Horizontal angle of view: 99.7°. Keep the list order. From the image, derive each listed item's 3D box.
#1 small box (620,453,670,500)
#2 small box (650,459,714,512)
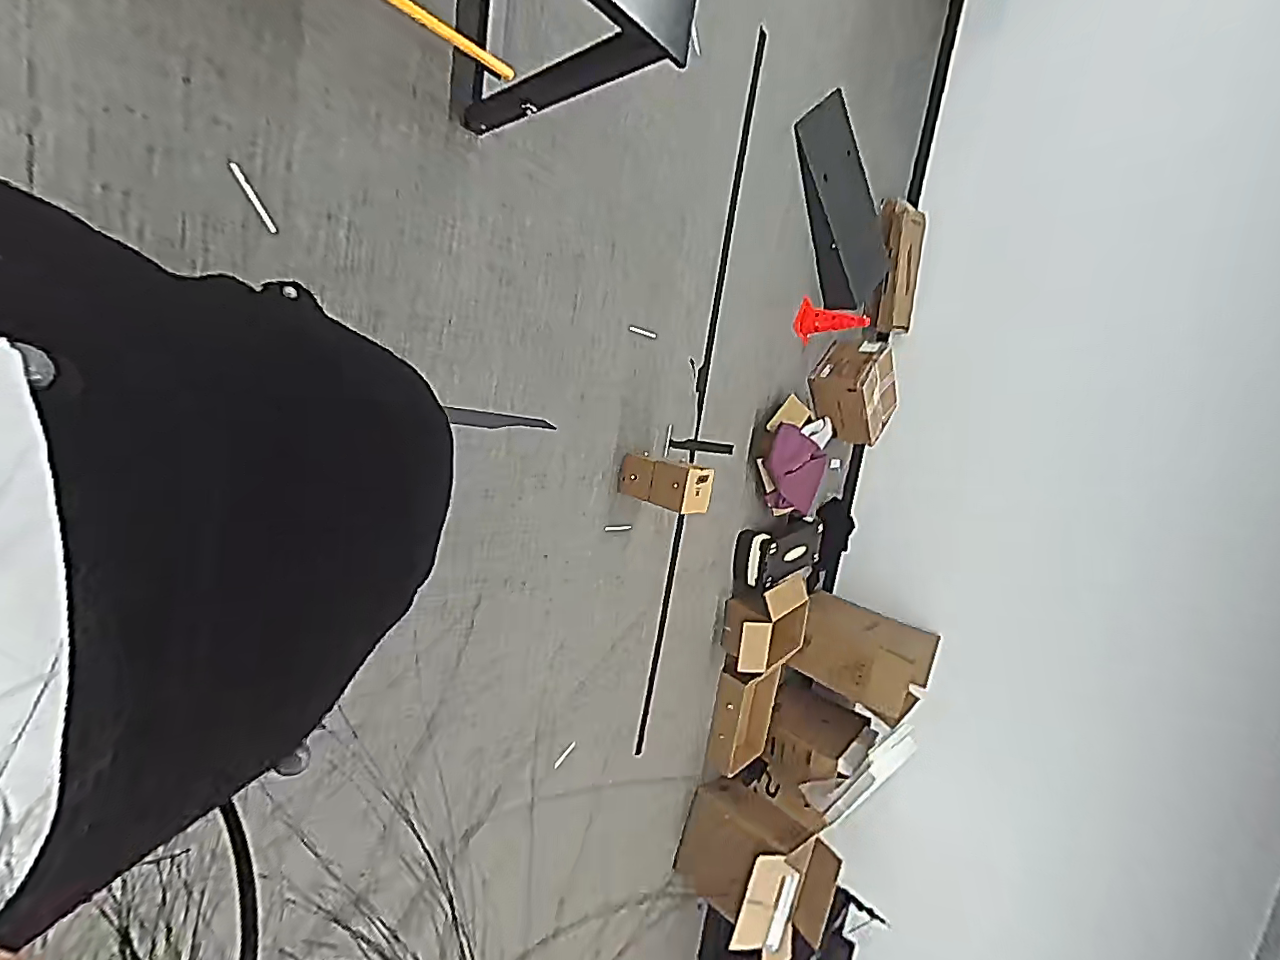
[{"bbox_3d":[0.040,-0.013,2.211,0.179,0.176,0.168,3,101,-47],"label":"small box"},{"bbox_3d":[0.160,0.019,2.102,0.168,0.176,0.179,0,103,-48],"label":"small box"}]
